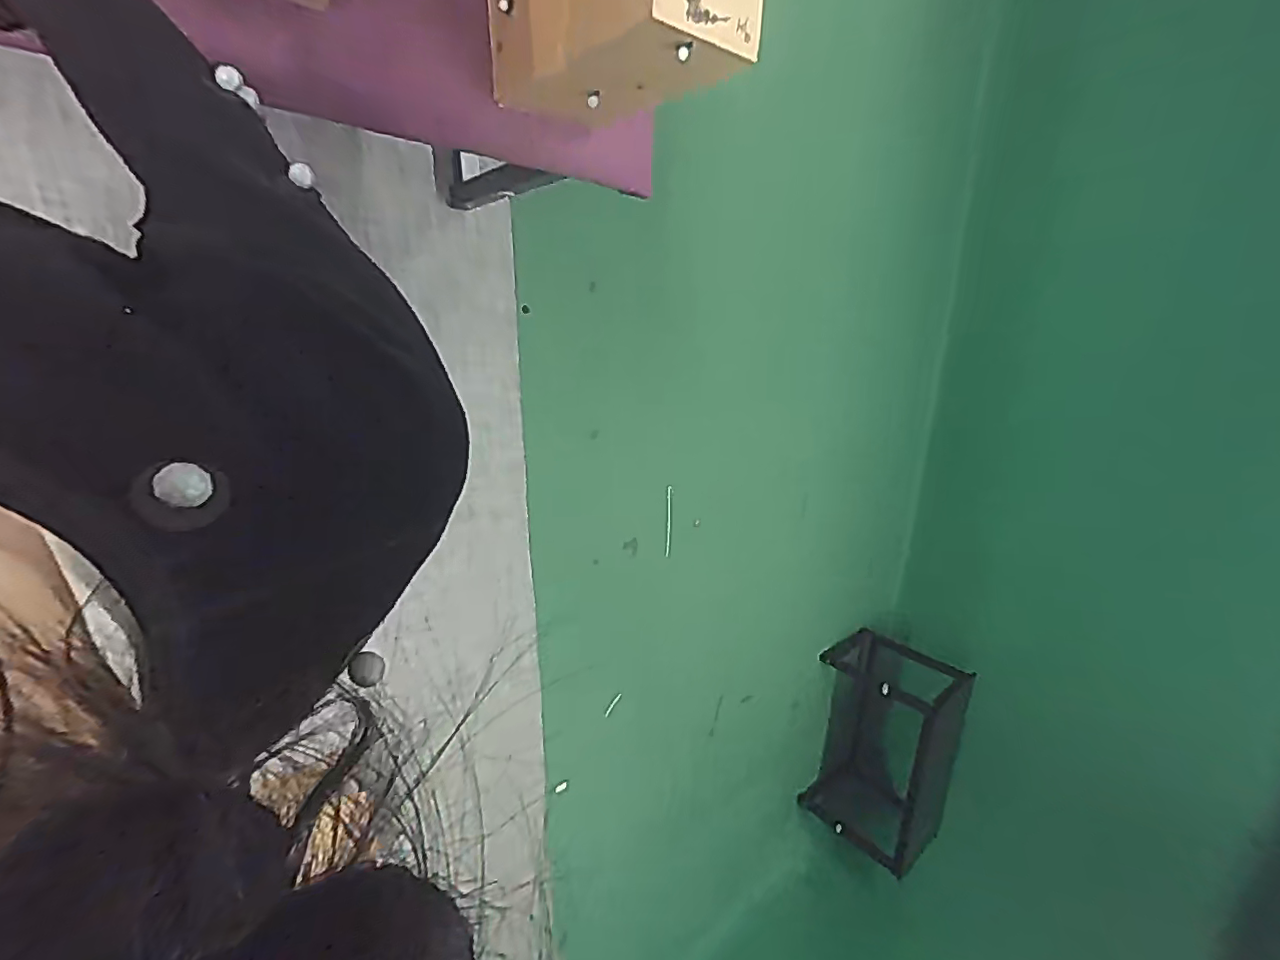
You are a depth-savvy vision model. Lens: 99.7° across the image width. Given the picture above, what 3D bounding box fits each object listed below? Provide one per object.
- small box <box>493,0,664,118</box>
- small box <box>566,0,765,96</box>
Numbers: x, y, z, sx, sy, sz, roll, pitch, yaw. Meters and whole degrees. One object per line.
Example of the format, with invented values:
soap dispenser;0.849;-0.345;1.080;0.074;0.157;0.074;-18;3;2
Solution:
small box;-0.081;-0.611;0.728;0.179;0.176;0.168;-14;113;-36
small box;0.025;-0.574;0.609;0.168;0.176;0.179;-13;112;-36
